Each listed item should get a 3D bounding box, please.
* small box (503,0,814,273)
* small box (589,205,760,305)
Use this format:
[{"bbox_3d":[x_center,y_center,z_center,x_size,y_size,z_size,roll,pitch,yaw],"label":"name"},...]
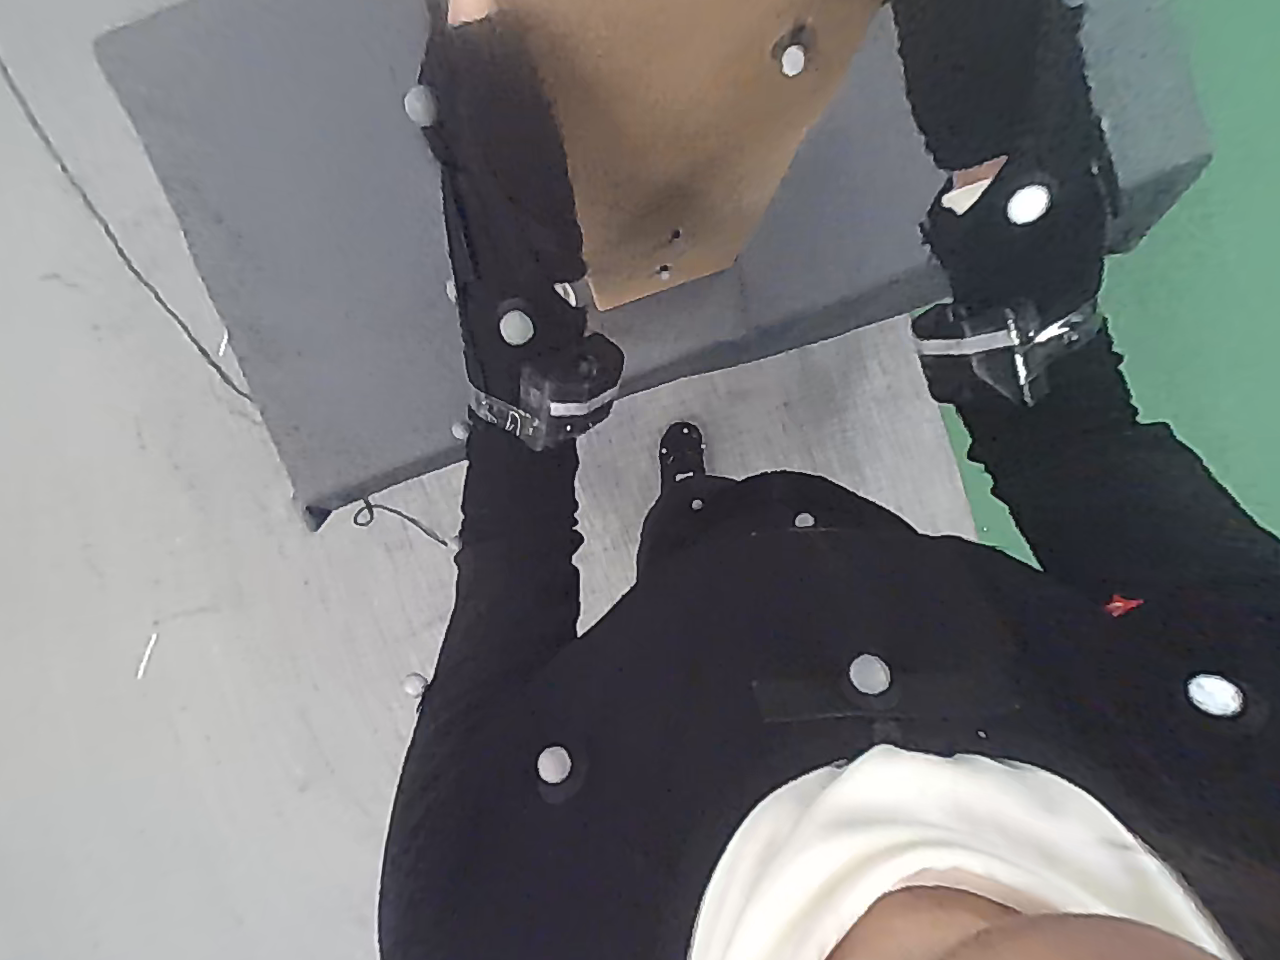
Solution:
[{"bbox_3d":[0.008,-0.290,0.430,0.179,0.176,0.168,-18,94,1],"label":"small box"},{"bbox_3d":[0.010,-0.312,0.592,0.179,0.176,0.168,-18,94,3],"label":"small box"}]
